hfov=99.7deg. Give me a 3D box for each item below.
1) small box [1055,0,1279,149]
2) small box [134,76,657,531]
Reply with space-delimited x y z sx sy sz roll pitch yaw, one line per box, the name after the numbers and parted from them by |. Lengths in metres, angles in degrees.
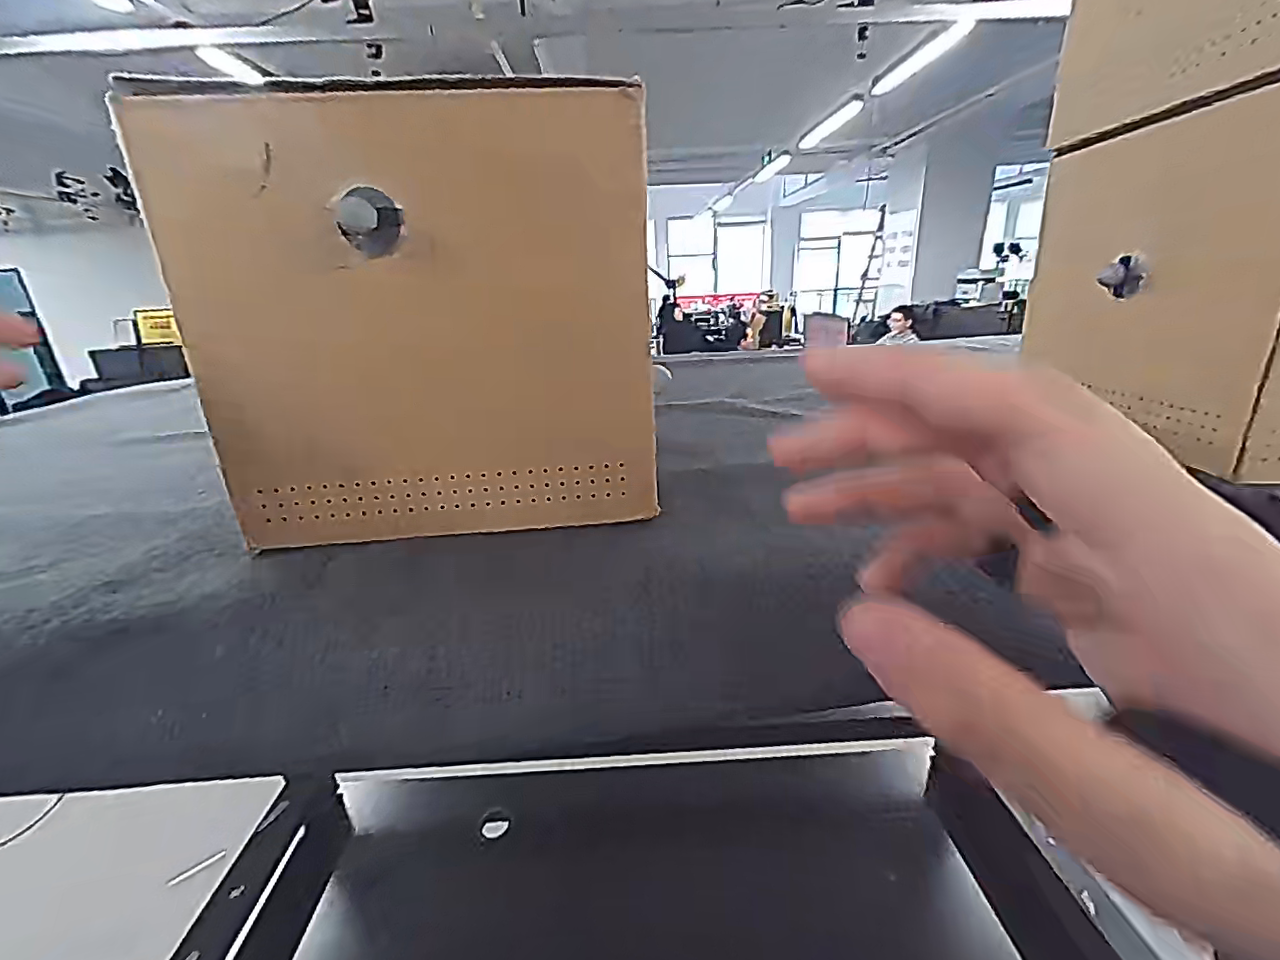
0.332 -0.265 0.241 0.168 0.176 0.179 -4 20 4 | small box
-0.088 -0.079 0.286 0.179 0.176 0.168 -4 19 -4 | small box
